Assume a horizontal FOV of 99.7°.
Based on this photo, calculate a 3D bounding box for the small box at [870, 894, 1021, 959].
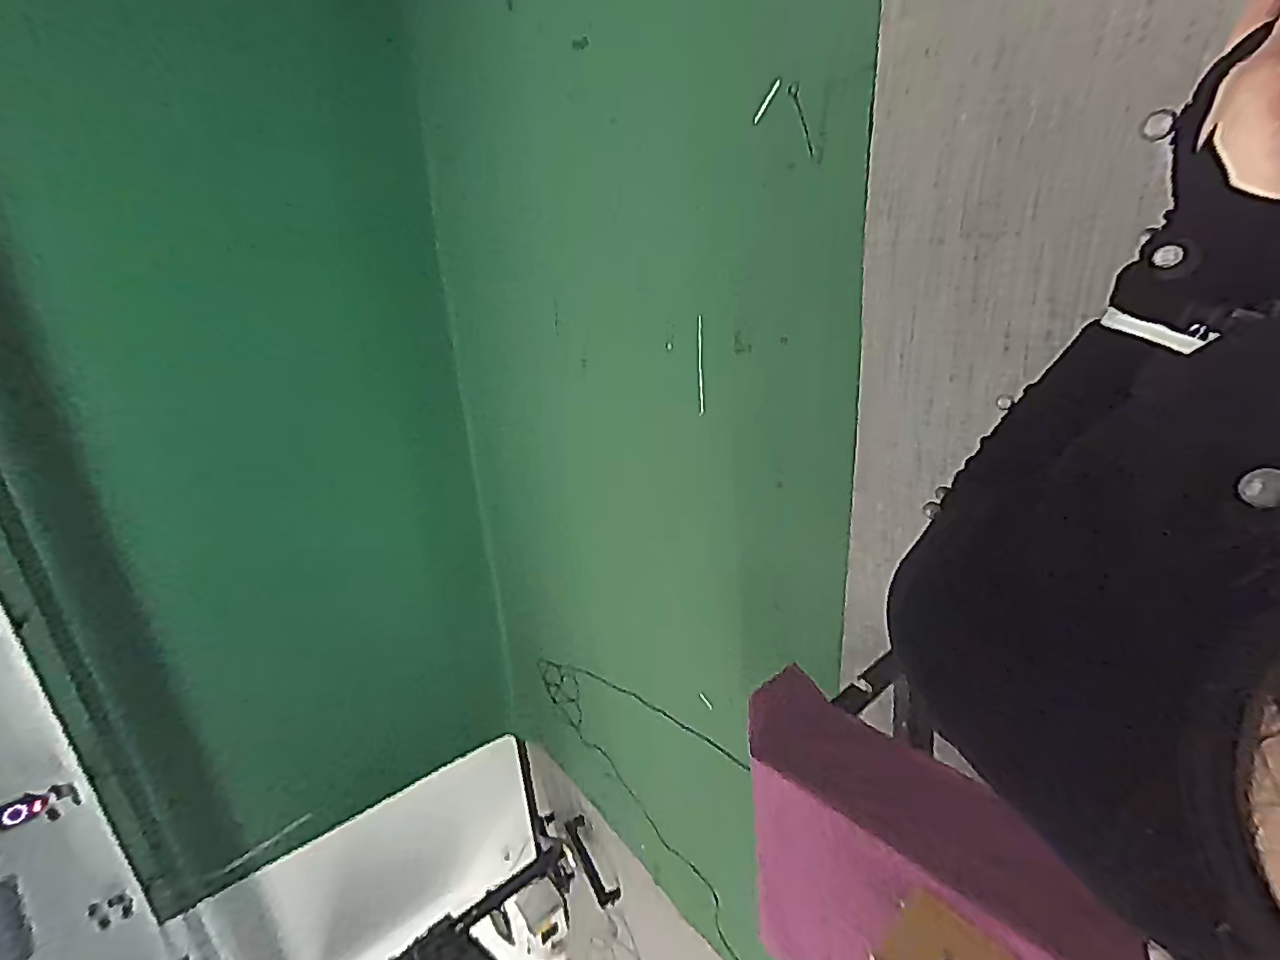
[{"bbox_3d":[0.496,0.832,0.882,0.179,0.176,0.168,16,117,48],"label":"small box"}]
